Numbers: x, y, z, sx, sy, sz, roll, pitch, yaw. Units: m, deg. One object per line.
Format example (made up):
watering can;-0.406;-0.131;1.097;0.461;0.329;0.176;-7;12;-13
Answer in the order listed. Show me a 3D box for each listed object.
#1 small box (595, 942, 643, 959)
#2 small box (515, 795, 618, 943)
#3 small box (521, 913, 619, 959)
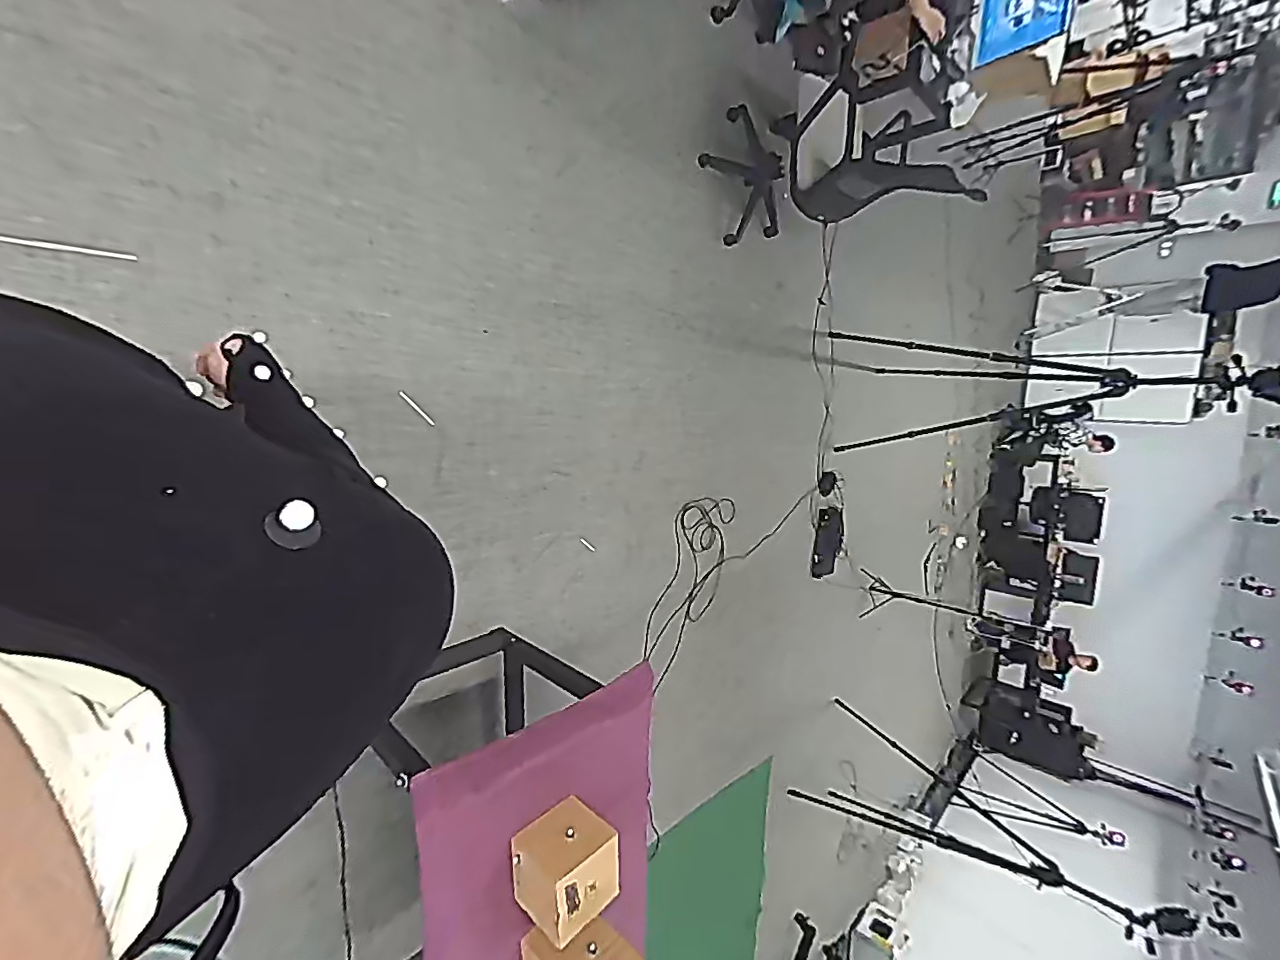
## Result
small box;-0.049;1.156;1.162;0.168;0.176;0.179;-12;105;-43
small box;-0.171;0.863;1.221;0.179;0.176;0.168;-12;106;-45
small box;-0.166;1.140;1.275;0.168;0.176;0.179;-12;105;-45
